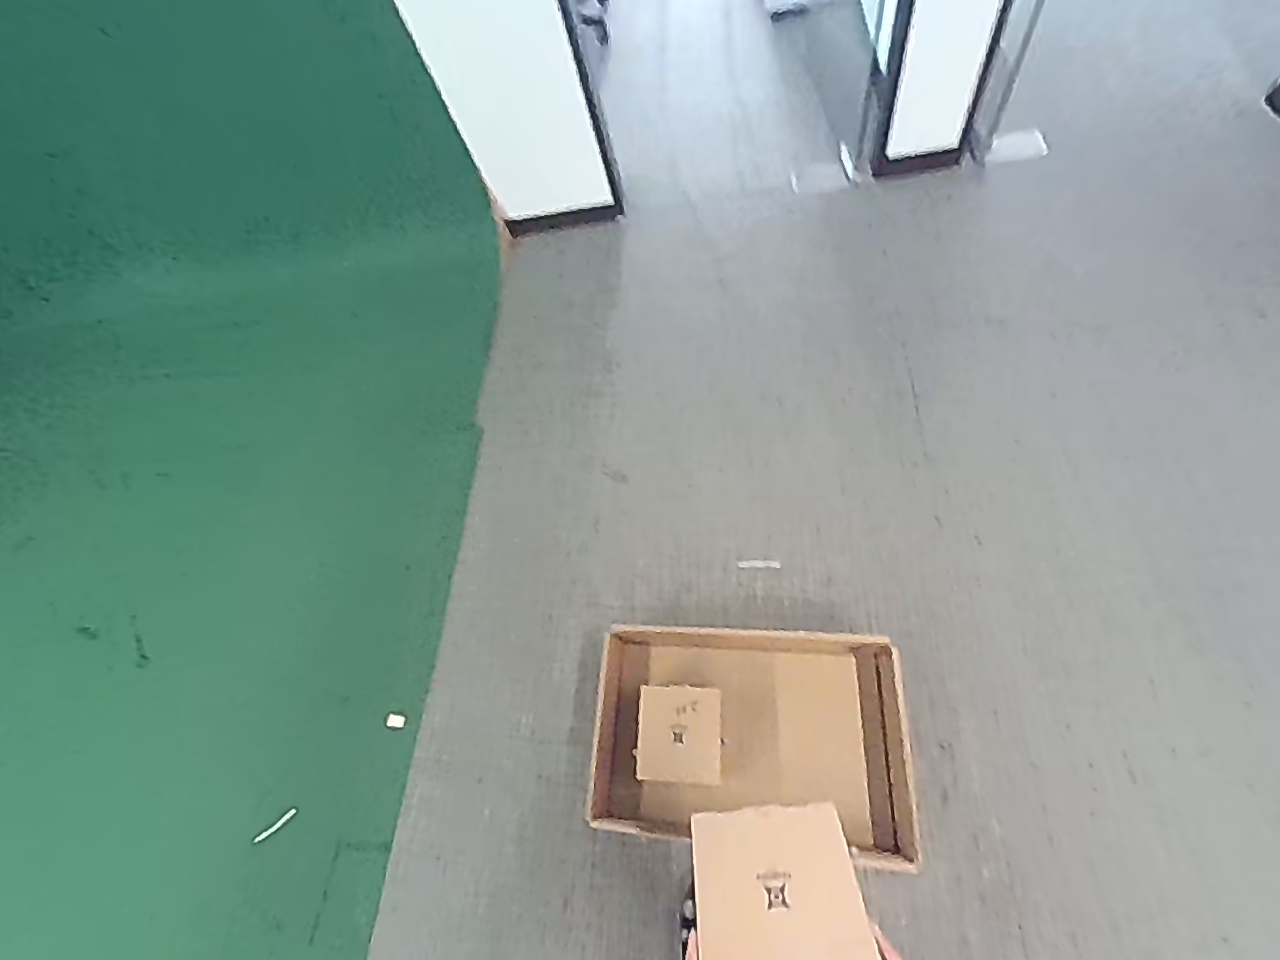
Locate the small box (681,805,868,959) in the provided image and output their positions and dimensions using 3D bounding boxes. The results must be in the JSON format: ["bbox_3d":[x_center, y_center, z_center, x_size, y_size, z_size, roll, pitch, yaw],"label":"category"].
[{"bbox_3d":[0.138,0.483,0.565,0.168,0.176,0.179,-9,24,5],"label":"small box"}]

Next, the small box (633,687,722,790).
[{"bbox_3d":[0.086,0.544,1.143,0.168,0.176,0.179,-1,63,11],"label":"small box"}]
